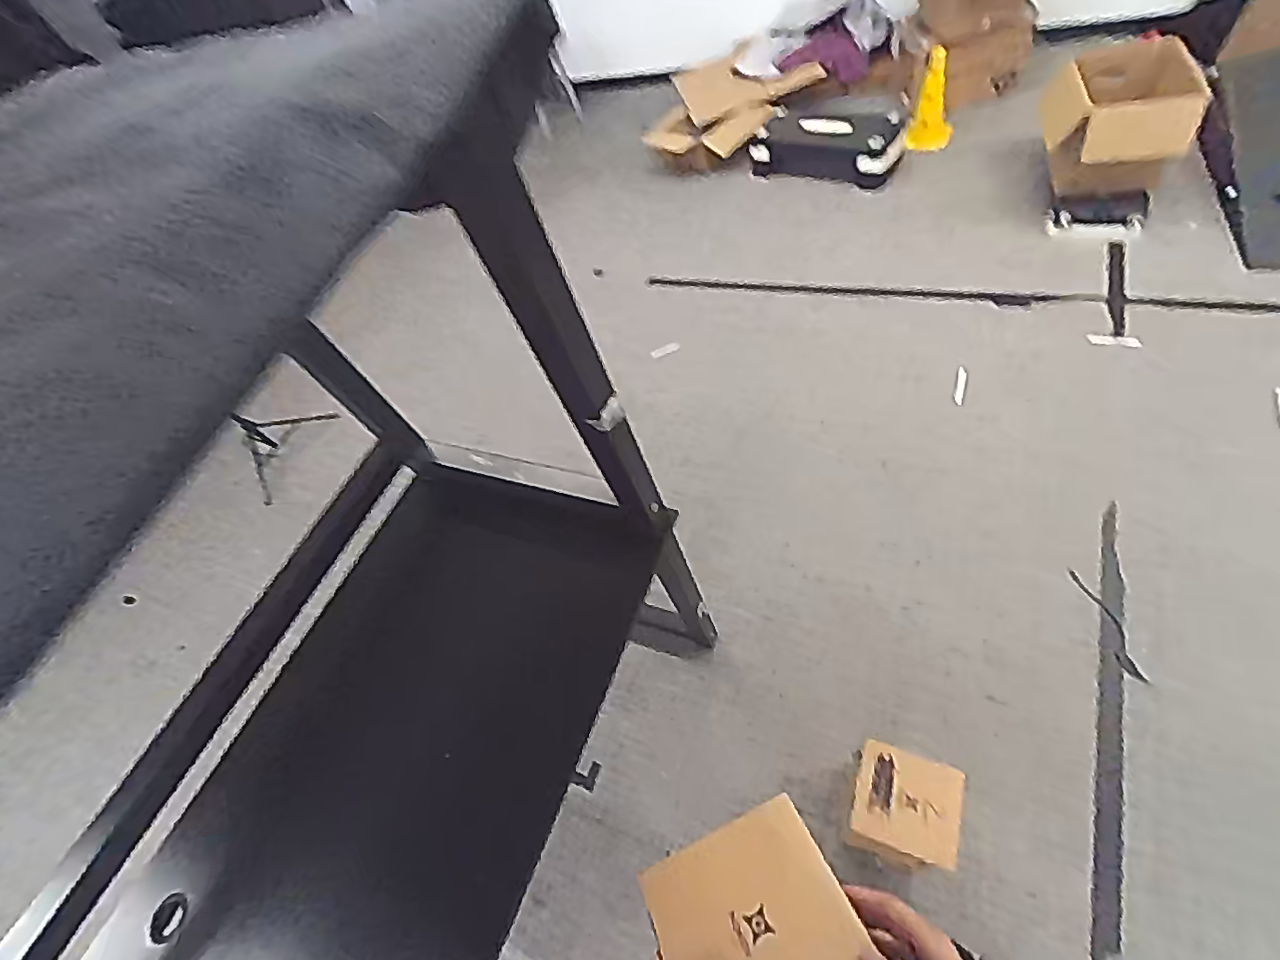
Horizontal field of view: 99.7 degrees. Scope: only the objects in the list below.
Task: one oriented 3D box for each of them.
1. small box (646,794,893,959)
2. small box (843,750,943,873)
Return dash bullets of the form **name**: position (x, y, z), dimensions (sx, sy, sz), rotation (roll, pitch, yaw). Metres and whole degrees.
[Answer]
- **small box**: position (0.129, 0.458, 0.537), dimensions (0.179, 0.176, 0.168), rotation (-25, 40, -7)
- **small box**: position (0.545, 0.718, 1.180), dimensions (0.168, 0.176, 0.179), rotation (10, 62, 23)
